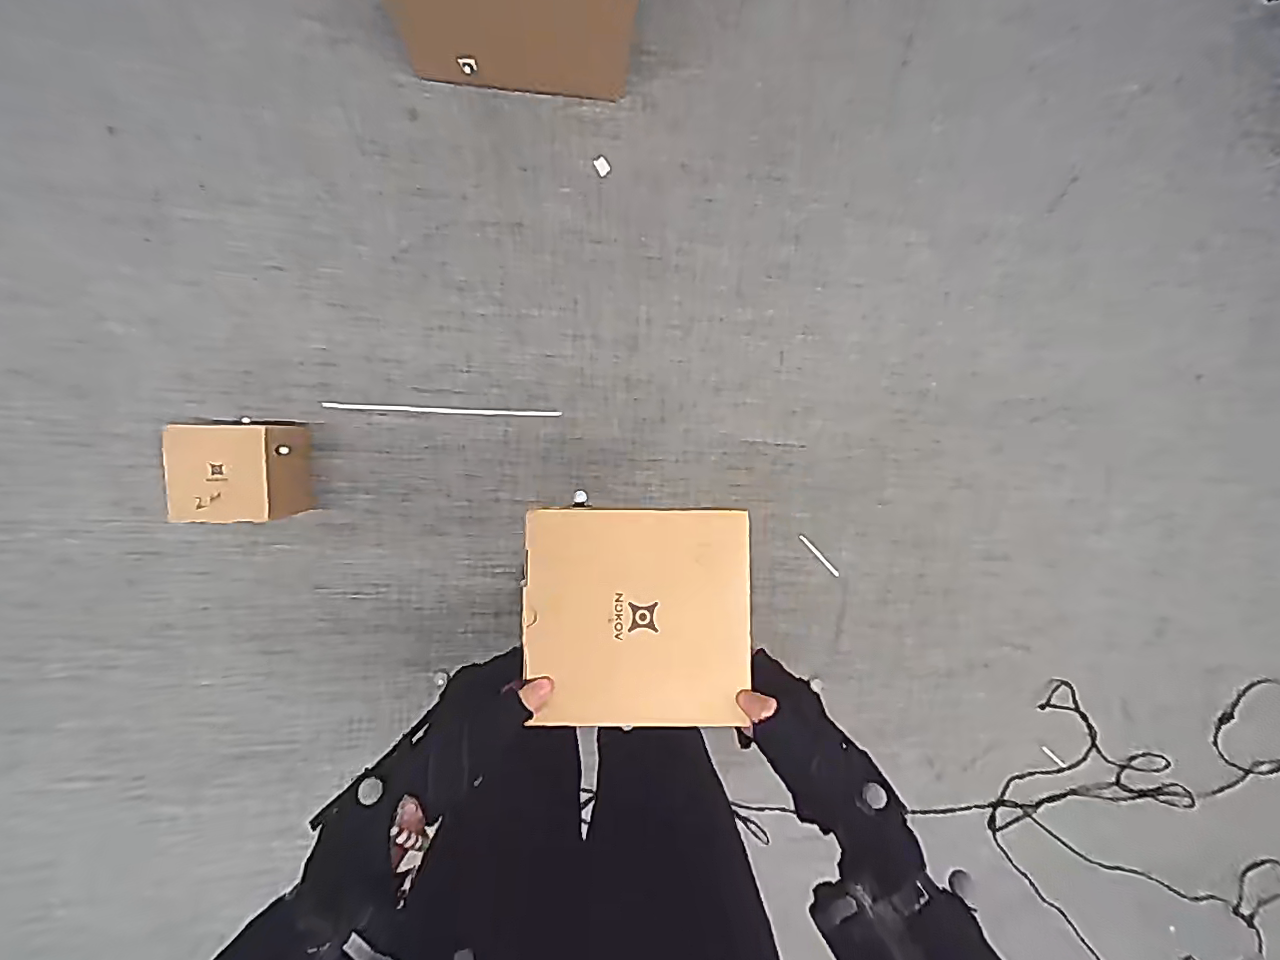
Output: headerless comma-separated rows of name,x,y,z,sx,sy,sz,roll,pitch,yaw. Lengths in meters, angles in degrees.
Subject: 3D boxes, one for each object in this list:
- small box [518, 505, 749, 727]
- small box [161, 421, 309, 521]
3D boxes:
small box,-0.005,0.106,0.490,0.179,0.176,0.168,0,87,0
small box,-0.752,-0.021,1.023,0.168,0.176,0.179,0,96,-7
